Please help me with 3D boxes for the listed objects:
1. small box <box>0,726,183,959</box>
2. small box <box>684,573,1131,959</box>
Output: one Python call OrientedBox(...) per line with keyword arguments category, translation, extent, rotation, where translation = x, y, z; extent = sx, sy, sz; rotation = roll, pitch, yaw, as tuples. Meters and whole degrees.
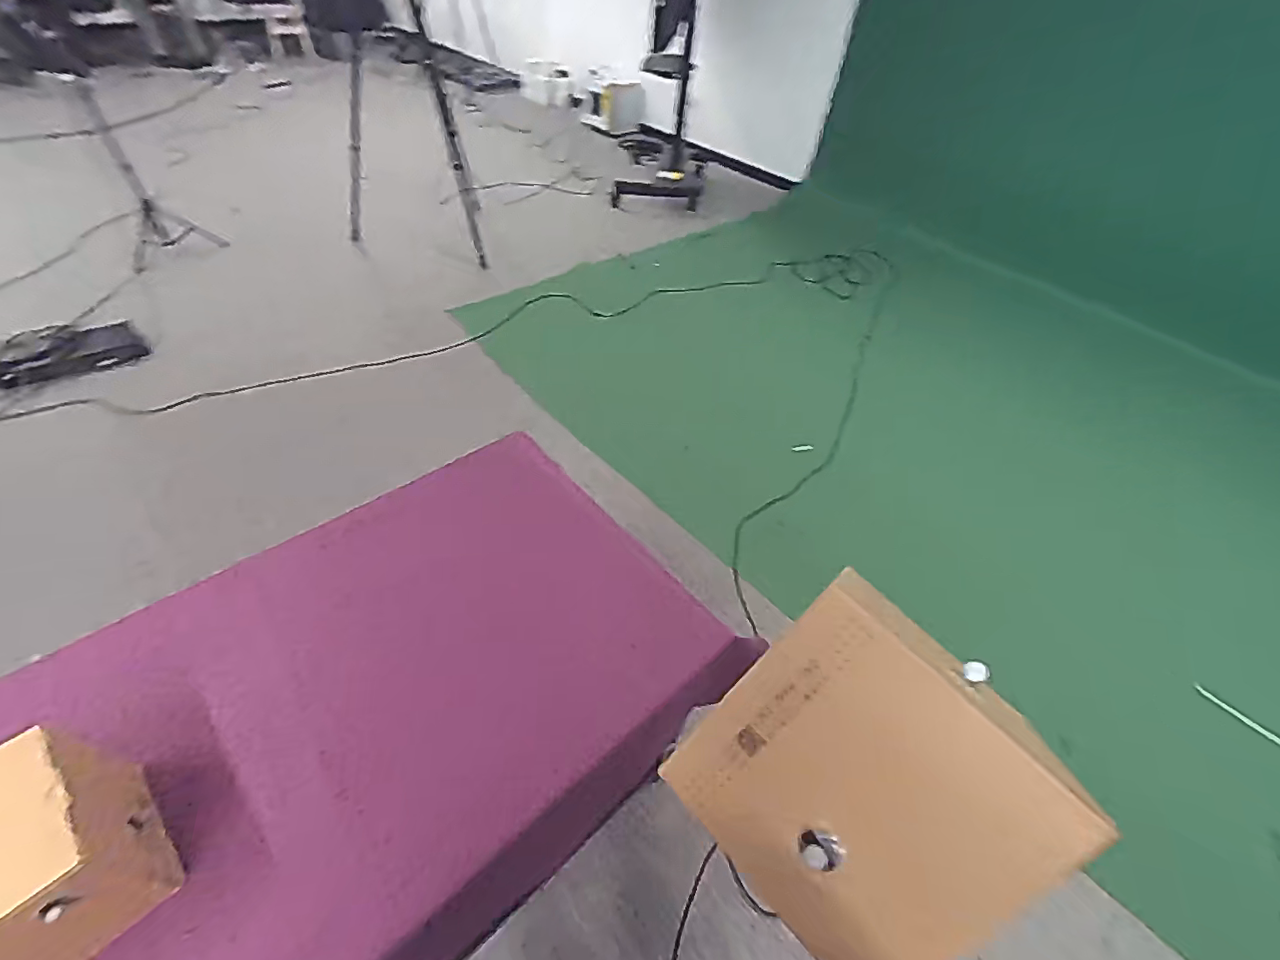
OrientedBox(category="small box", translation=(-0.612, 0.391, 0.530), extent=(0.168, 0.176, 0.179), rotation=(36, 53, 25))
OrientedBox(category="small box", translation=(0.155, 0.181, 0.370), extent=(0.176, 0.179, 0.168), rotation=(45, 102, 20))
